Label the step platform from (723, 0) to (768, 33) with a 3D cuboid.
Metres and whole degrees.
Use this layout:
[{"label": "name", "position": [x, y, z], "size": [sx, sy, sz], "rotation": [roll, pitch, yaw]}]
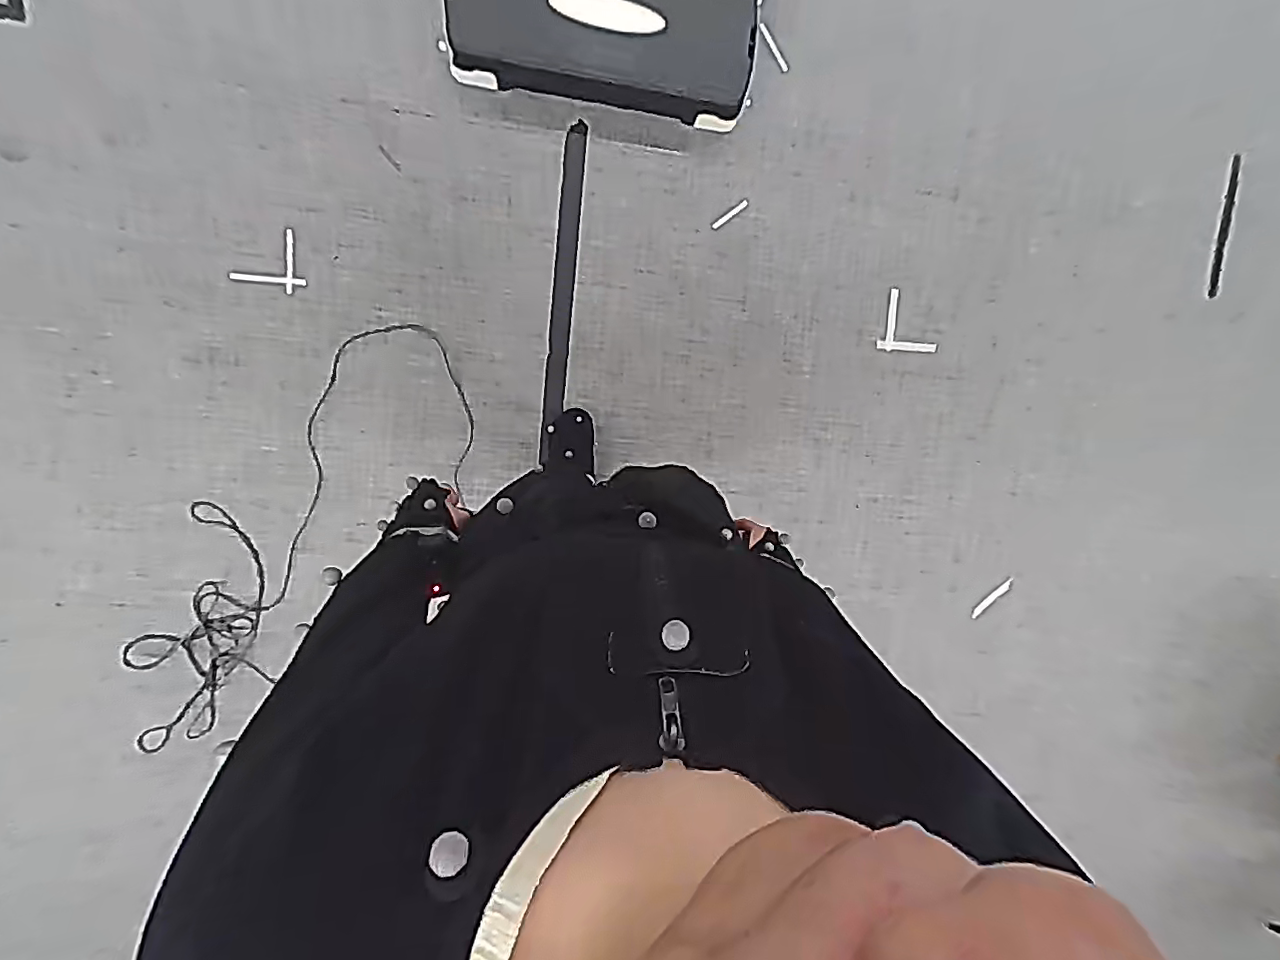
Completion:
[{"label": "step platform", "position": [-0.011, -1.240, 1.145], "size": [0.684, 0.204, 0.286], "rotation": [9, 95, -10]}]
